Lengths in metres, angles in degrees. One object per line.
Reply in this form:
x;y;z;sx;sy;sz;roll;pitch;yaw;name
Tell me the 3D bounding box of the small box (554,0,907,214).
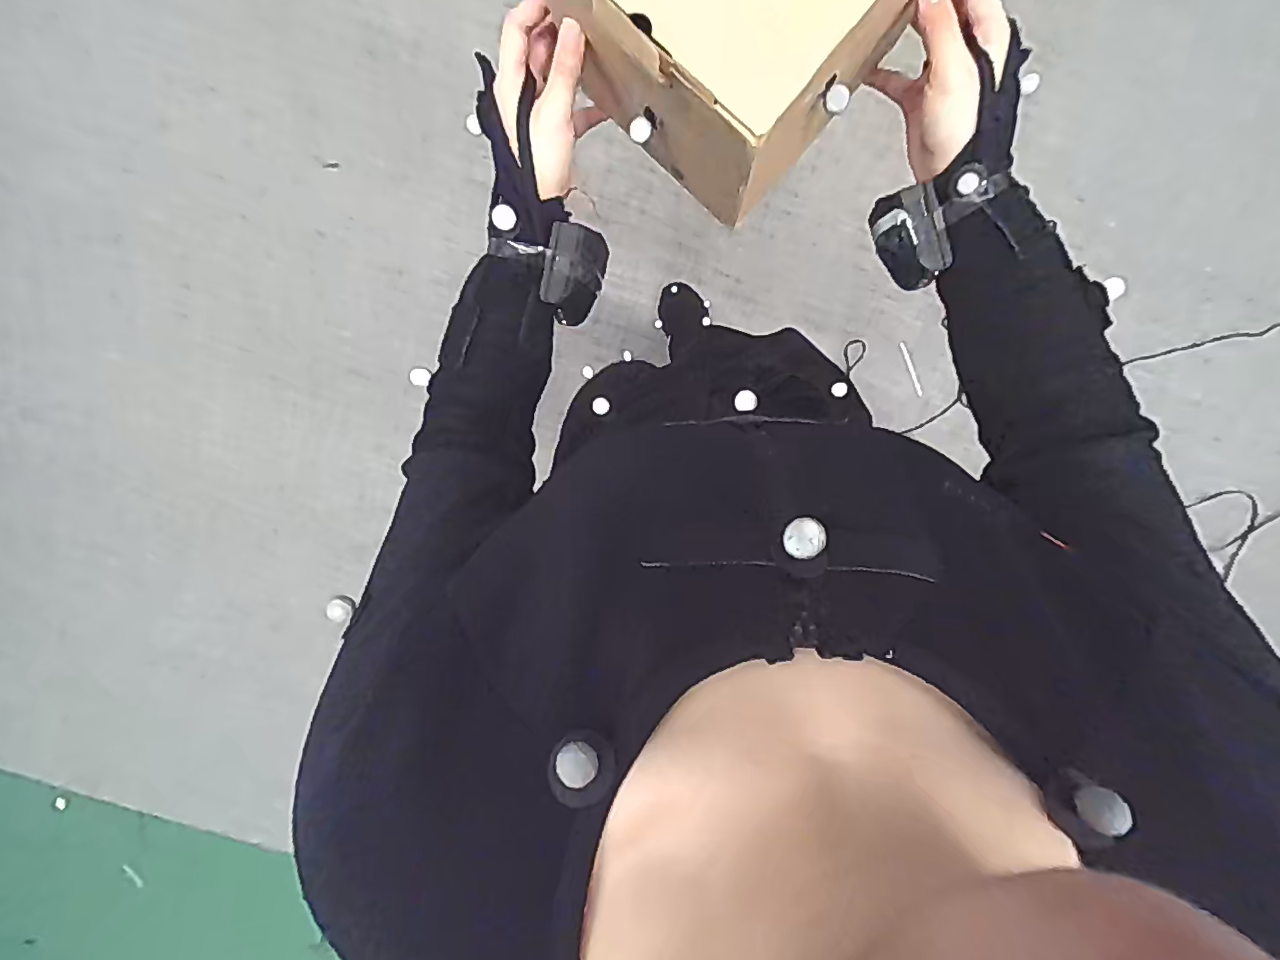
0.062;-0.306;0.339;0.168;0.176;0.179;41;102;-2;small box
